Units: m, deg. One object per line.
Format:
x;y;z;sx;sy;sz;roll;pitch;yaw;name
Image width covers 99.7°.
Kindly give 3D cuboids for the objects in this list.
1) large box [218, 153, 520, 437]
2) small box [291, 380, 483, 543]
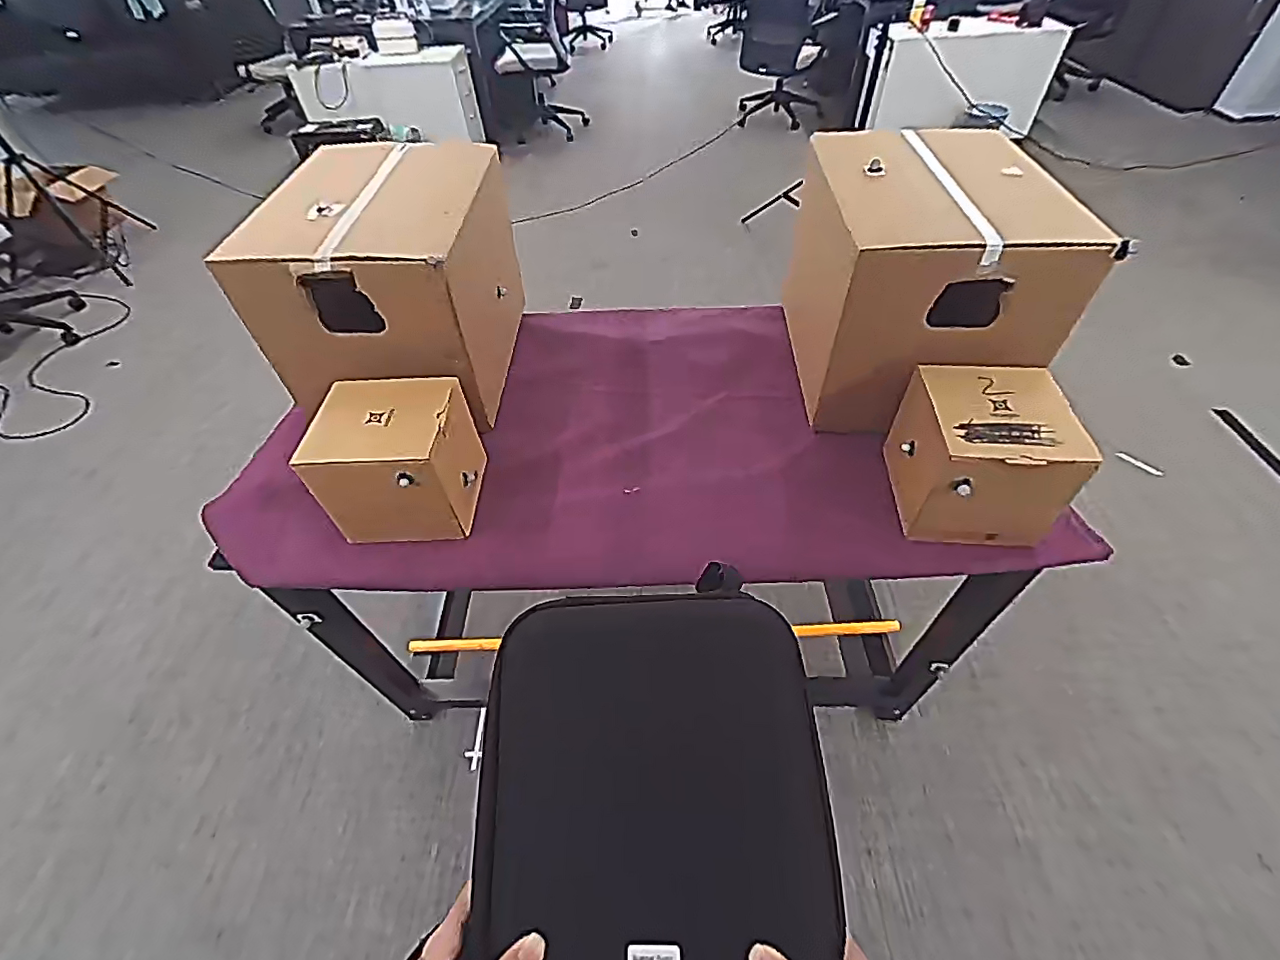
-0.404;-0.321;0.941;0.320;0.320;0.408;-1;51;0;large box
-0.342;-0.023;0.772;0.179;0.176;0.168;-3;48;0;small box
